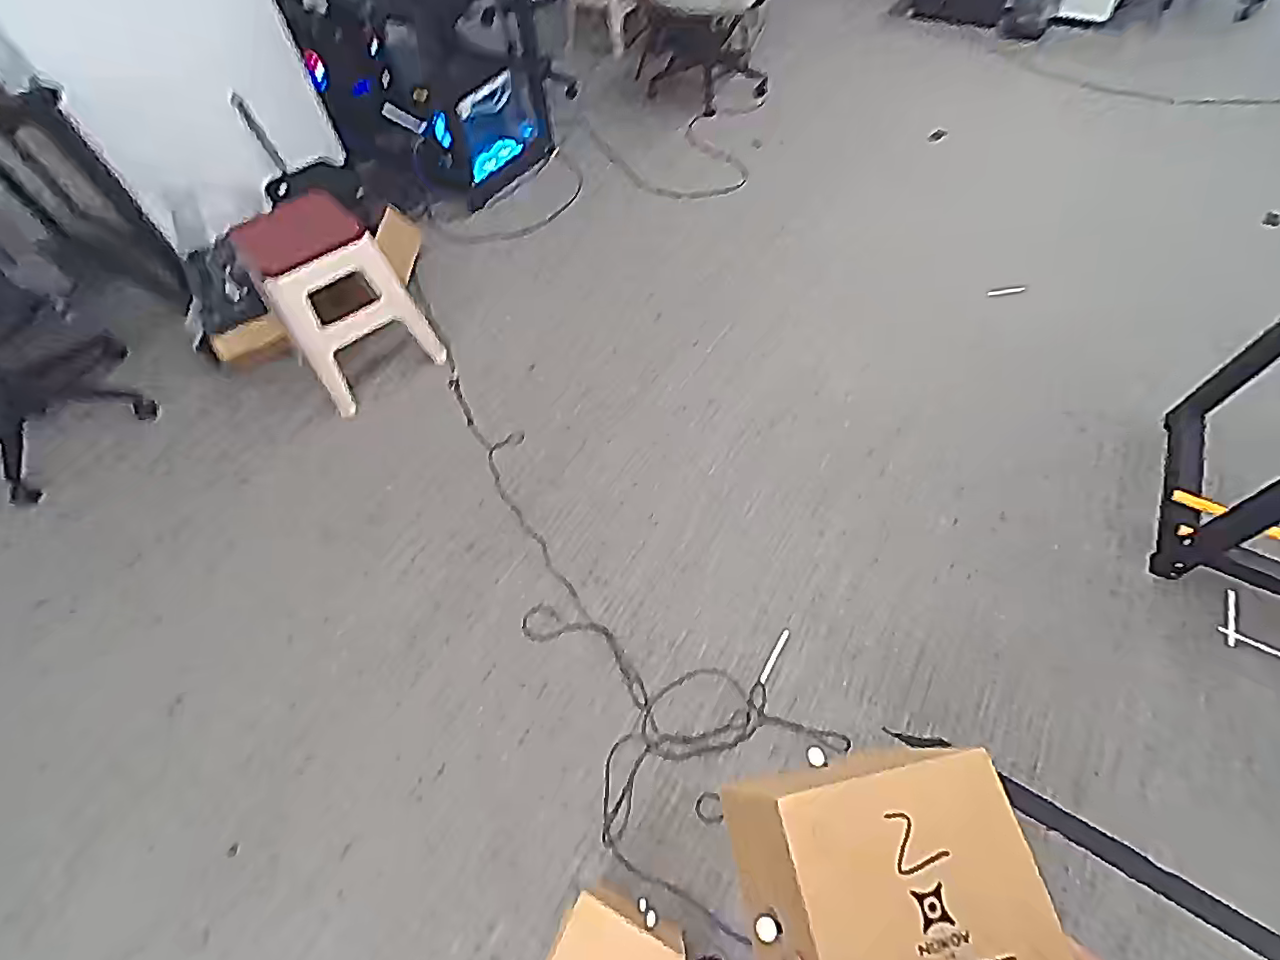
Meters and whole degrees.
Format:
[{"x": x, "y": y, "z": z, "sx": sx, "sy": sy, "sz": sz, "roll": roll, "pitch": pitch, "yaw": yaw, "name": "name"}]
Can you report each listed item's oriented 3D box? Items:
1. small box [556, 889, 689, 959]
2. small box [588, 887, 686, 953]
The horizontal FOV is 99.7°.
[{"x": -0.041, "y": 0.727, "z": 0.776, "sx": 0.168, "sy": 0.176, "sz": 0.179, "roll": 22, "pitch": 62, "yaw": 17, "name": "small box"}, {"x": -0.034, "y": 0.819, "z": 0.909, "sx": 0.179, "sy": 0.176, "sz": 0.168, "roll": 20, "pitch": 61, "yaw": 15, "name": "small box"}]
